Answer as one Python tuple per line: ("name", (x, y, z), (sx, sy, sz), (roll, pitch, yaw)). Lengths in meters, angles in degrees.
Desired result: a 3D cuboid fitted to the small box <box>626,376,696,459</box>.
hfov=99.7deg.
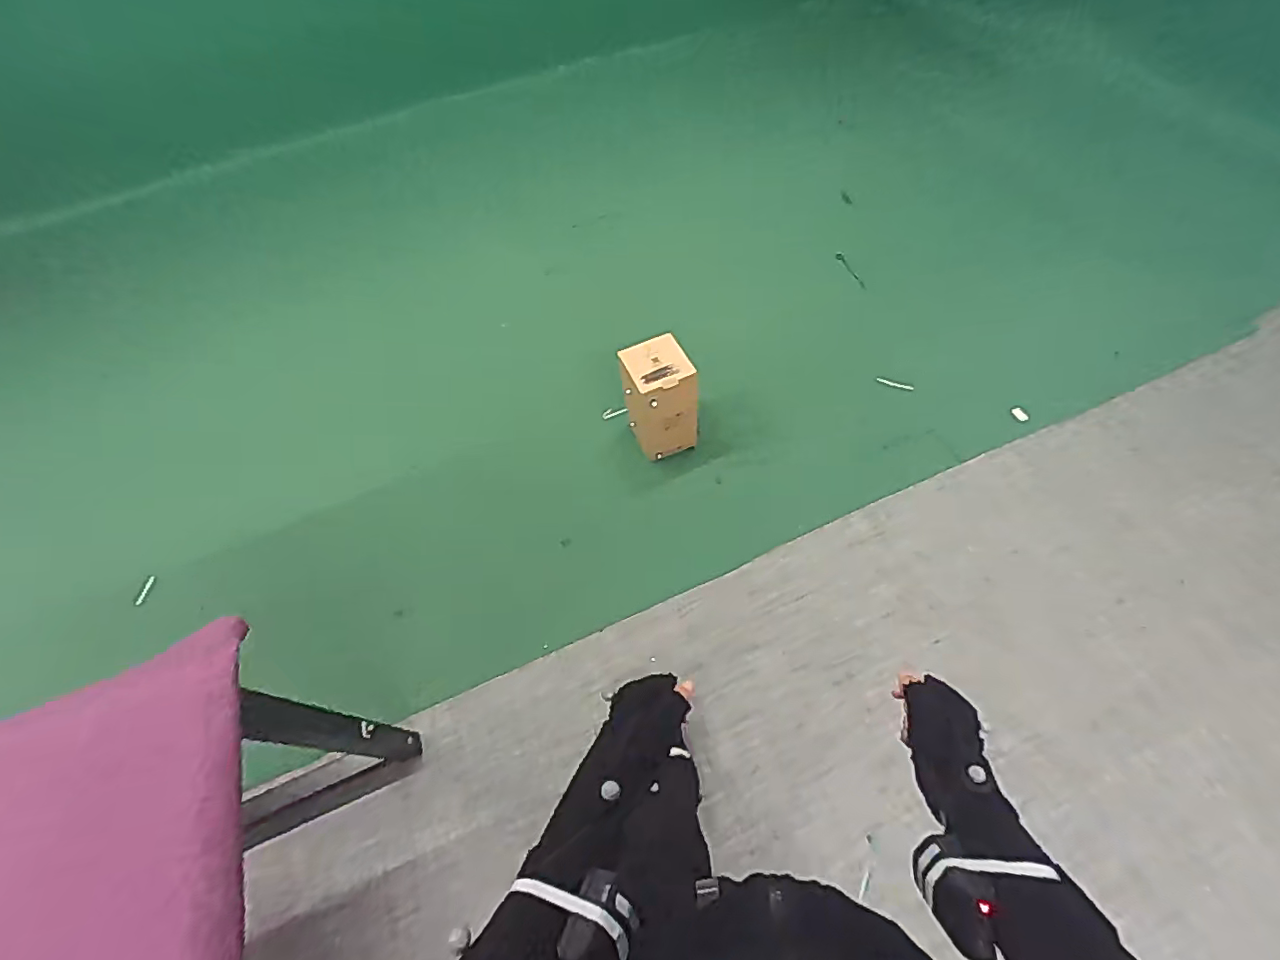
("small box", (0.068, -0.187, 1.688), (0.168, 0.176, 0.179), (-22, 59, -8))
